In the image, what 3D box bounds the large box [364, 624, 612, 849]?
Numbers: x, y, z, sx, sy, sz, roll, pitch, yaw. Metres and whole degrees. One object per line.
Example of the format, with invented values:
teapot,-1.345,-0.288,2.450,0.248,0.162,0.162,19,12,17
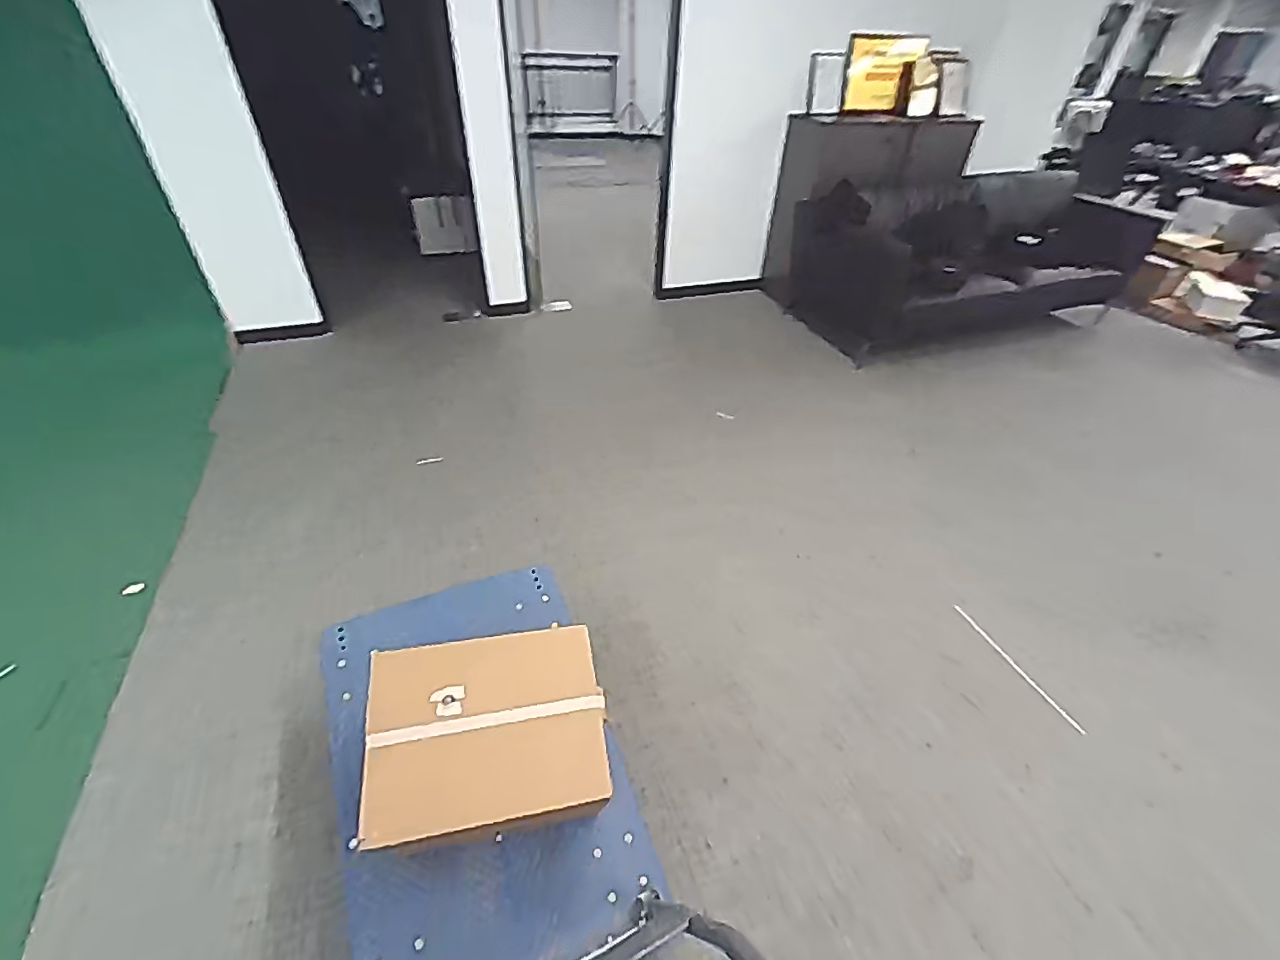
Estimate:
large box,-0.288,0.517,1.089,0.408,0.320,0.320,-5,55,-13
